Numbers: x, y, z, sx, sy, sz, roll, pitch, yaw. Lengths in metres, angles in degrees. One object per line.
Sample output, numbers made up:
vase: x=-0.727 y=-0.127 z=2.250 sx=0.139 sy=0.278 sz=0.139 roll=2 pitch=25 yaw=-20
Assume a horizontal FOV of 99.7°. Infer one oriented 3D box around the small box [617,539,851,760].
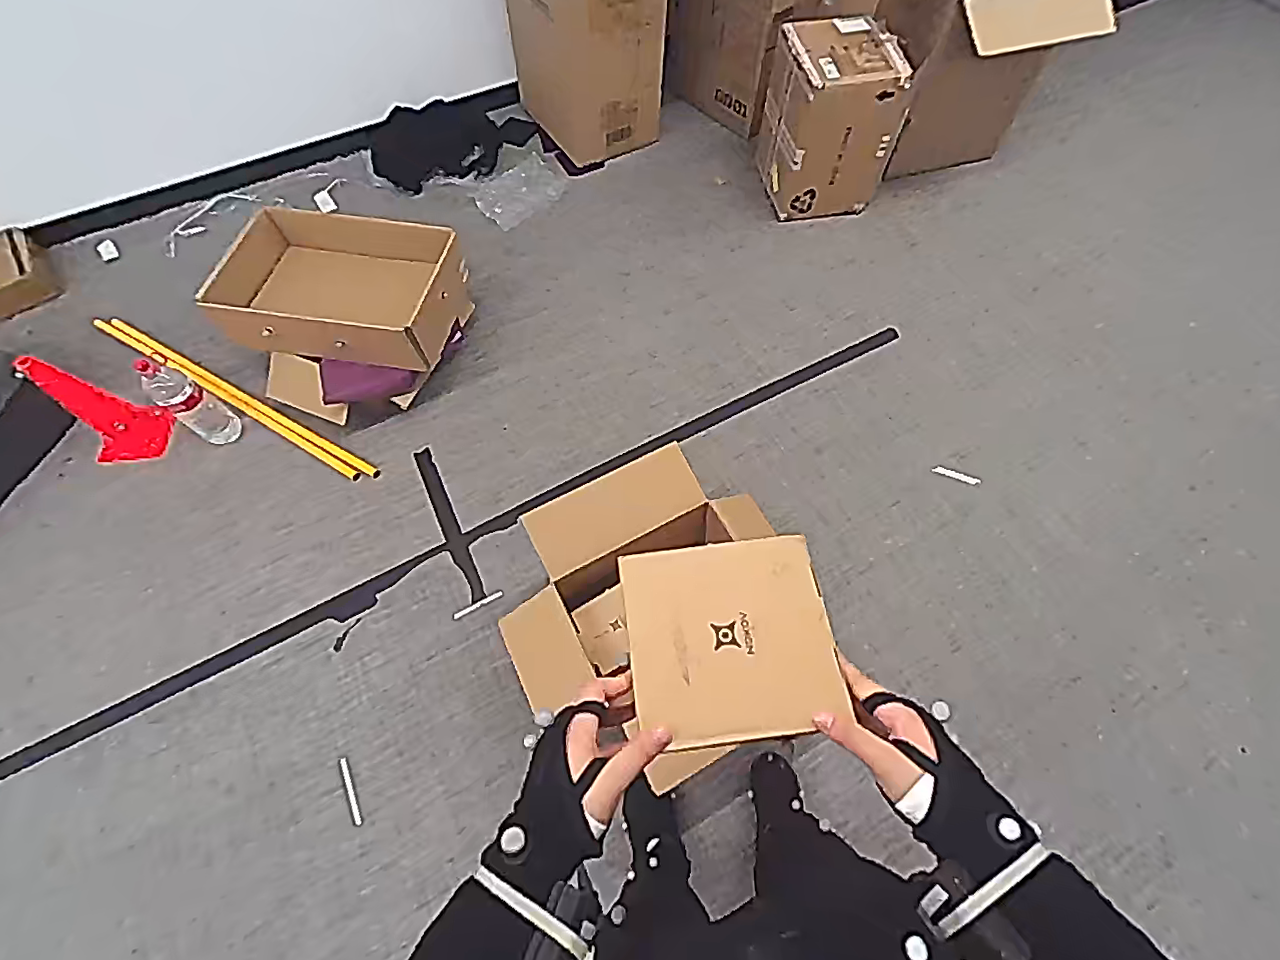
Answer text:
small box: x=0.076 y=0.173 z=0.534 sx=0.179 sy=0.176 sz=0.168 roll=-8 pitch=62 yaw=-2
